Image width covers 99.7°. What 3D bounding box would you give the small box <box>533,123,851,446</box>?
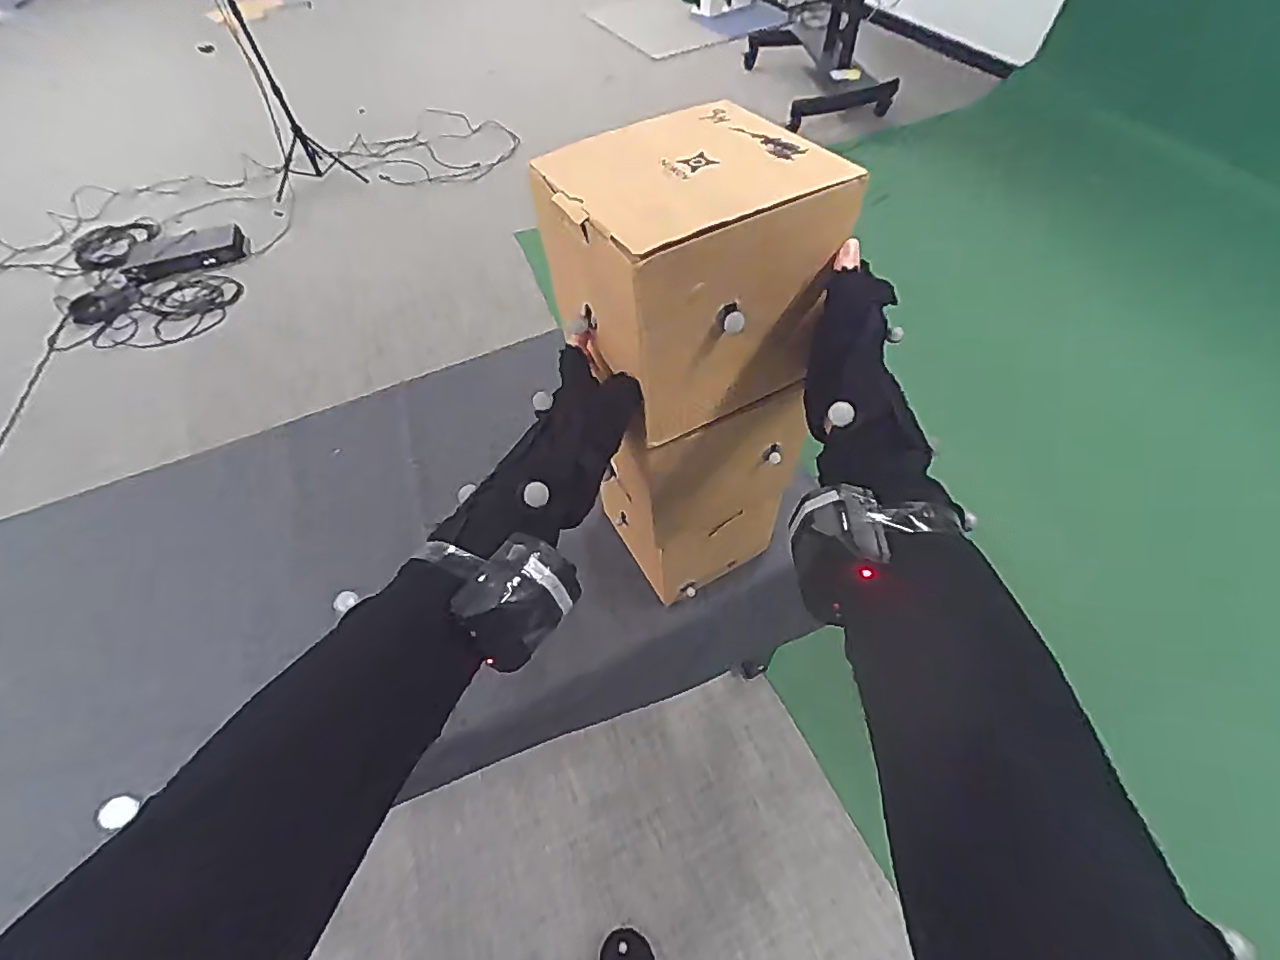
[{"bbox_3d":[0.037,-0.157,0.447,0.179,0.176,0.168,-26,55,-14],"label":"small box"}]

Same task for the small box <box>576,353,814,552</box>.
[{"bbox_3d":[0.052,-0.055,0.577,0.179,0.176,0.168,-25,55,-12],"label":"small box"}]

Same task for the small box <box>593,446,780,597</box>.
[{"bbox_3d":[0.057,0.032,0.713,0.168,0.176,0.179,-26,56,-14],"label":"small box"}]
